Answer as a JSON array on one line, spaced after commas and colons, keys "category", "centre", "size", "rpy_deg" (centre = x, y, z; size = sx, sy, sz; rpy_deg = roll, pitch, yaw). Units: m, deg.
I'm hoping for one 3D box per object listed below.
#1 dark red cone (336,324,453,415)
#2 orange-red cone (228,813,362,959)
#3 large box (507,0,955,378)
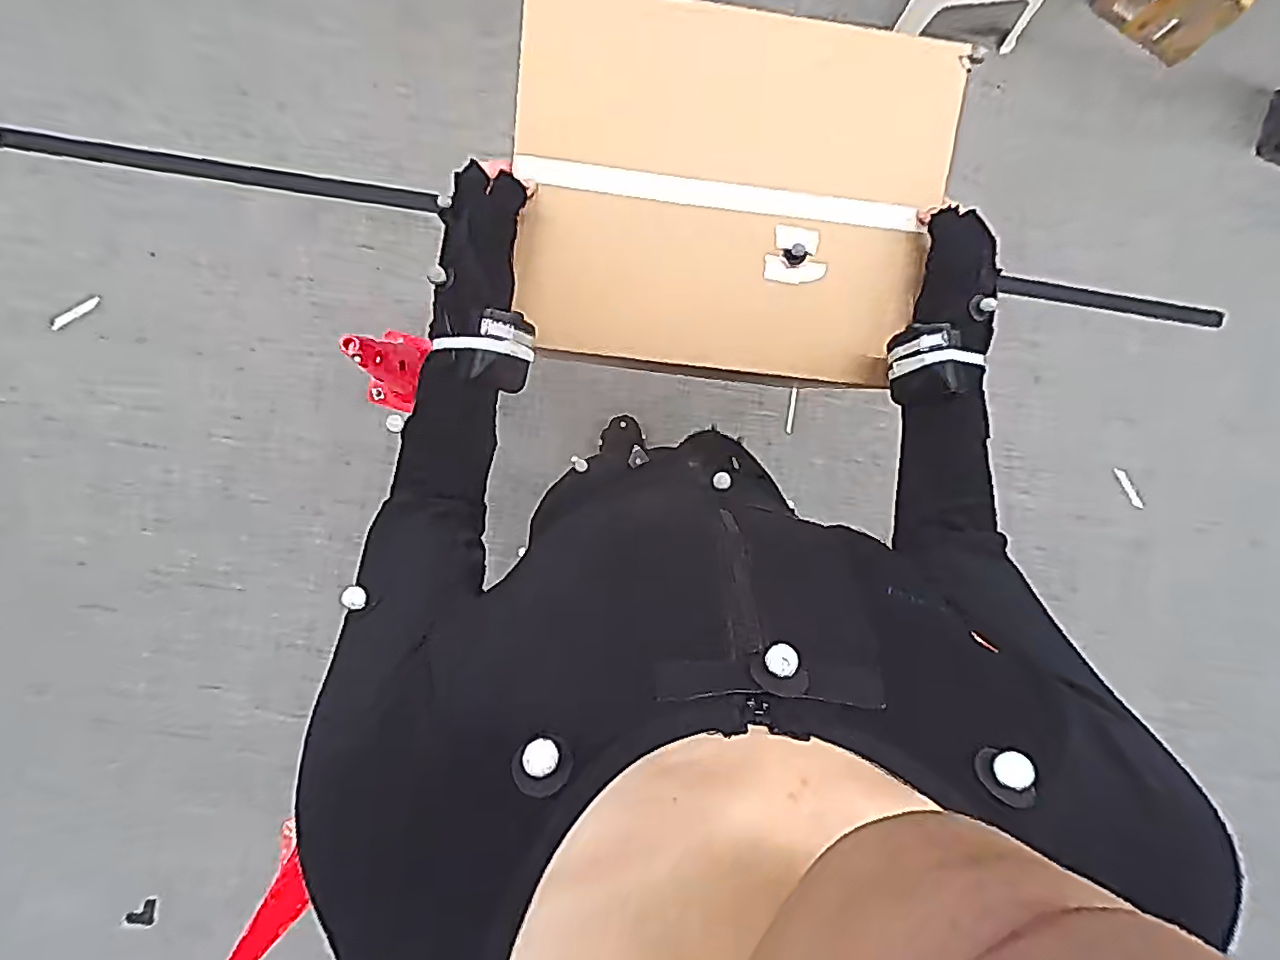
[{"category": "dark red cone", "centre": [-0.586, -0.281, 1.234], "size": [0.201, 0.394, 0.202], "rpy_deg": [14, 90, -4]}, {"category": "orange-red cone", "centre": [-0.835, 0.995, 1.265], "size": [0.198, 0.360, 0.199], "rpy_deg": [5, 92, -2]}, {"category": "large box", "centre": [0.071, -0.300, 0.655], "size": [0.408, 0.320, 0.320], "rpy_deg": [6, 100, -5]}]
